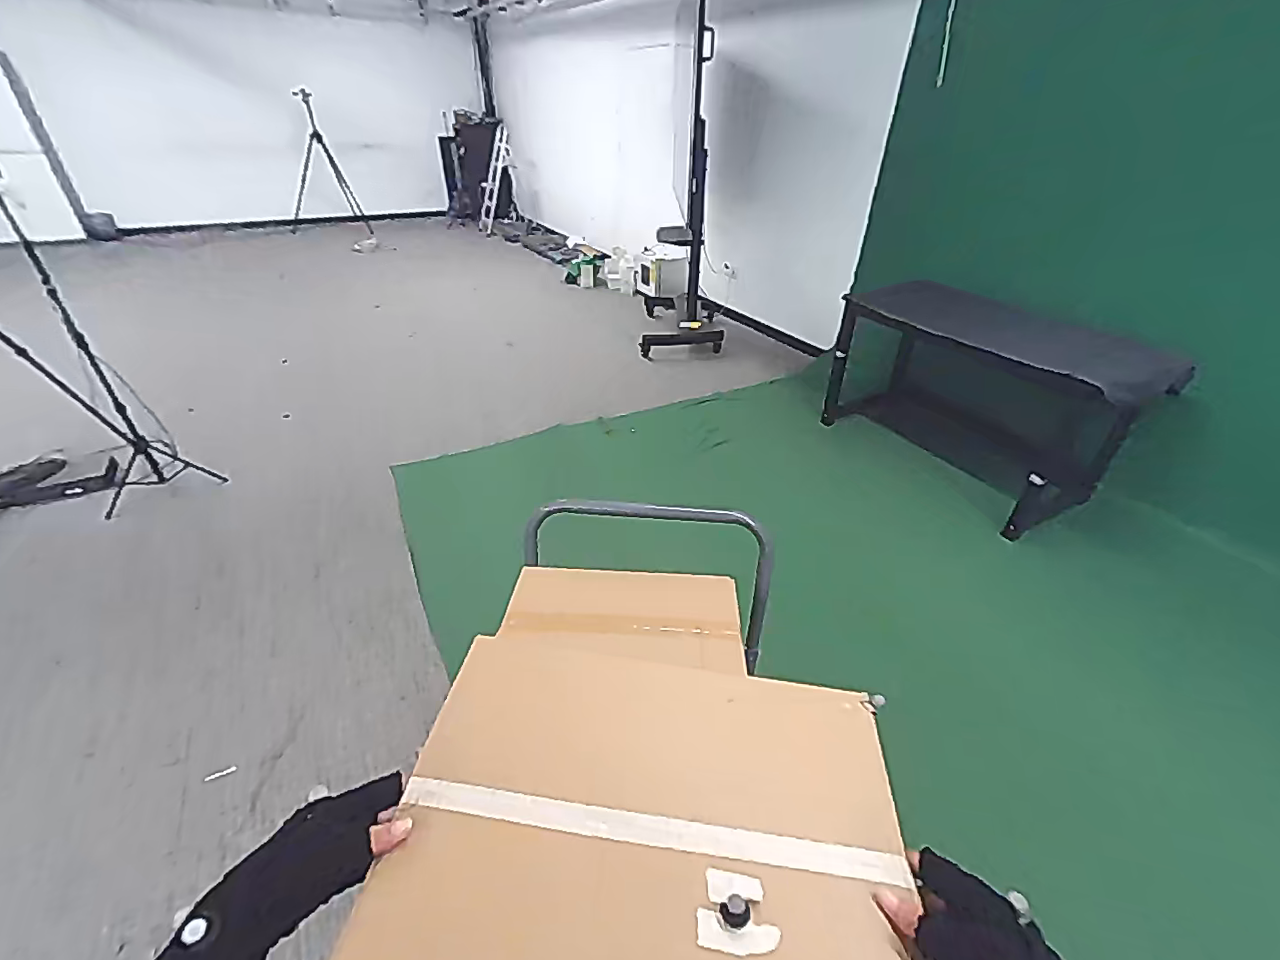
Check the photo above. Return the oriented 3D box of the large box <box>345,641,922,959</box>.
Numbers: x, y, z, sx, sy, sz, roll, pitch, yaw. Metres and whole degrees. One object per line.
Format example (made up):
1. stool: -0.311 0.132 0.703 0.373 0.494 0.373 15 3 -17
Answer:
1. large box: -0.001 0.401 0.526 0.408 0.320 0.320 8 37 3
